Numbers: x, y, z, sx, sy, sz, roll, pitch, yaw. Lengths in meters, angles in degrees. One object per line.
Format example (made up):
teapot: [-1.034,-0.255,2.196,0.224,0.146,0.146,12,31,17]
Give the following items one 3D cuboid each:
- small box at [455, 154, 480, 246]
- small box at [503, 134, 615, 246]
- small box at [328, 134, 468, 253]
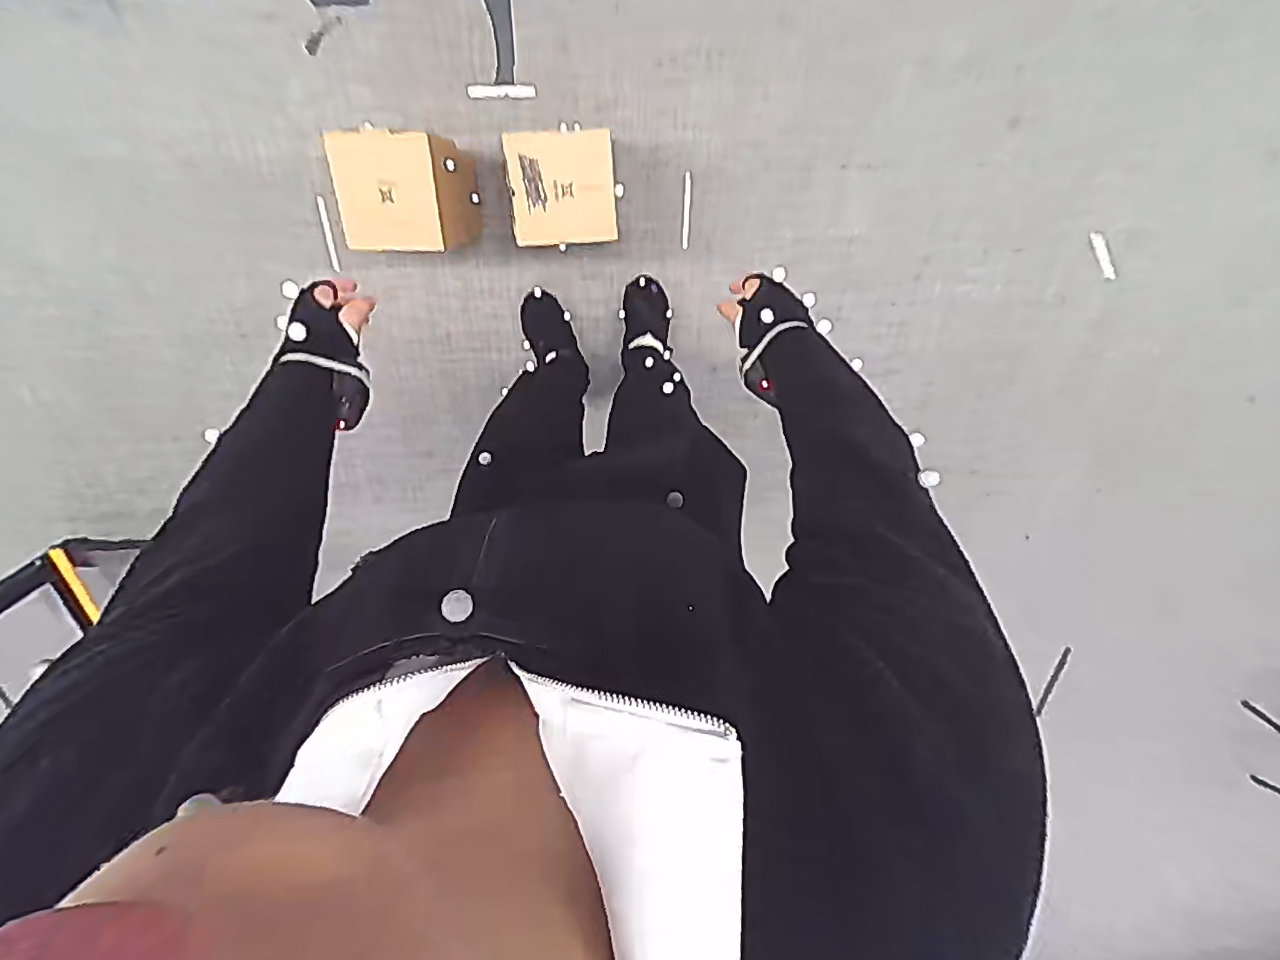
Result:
small box: [-0.435,-0.582,1.116,0.179,0.176,0.168,0,118,-3]
small box: [-0.136,-0.520,0.980,0.179,0.176,0.168,-4,118,-2]
small box: [-0.420,-0.510,0.971,0.168,0.176,0.179,0,119,-1]
